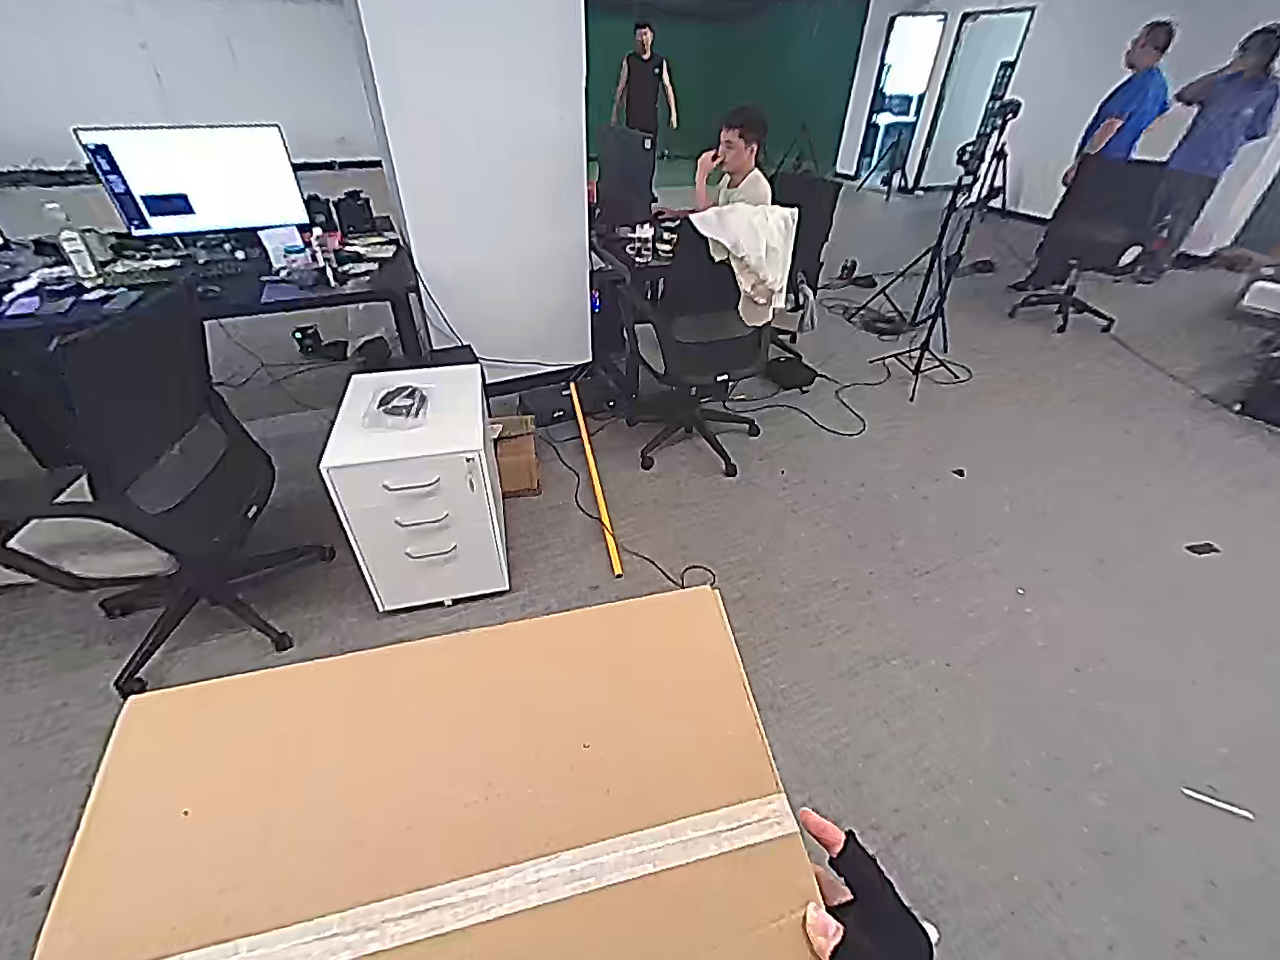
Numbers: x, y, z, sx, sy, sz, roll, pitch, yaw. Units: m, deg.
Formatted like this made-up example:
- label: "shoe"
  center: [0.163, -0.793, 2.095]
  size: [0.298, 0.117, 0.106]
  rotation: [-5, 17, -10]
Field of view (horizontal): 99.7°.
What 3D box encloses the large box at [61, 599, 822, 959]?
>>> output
- label: "large box"
  center: [-0.111, 0.332, 0.423]
  size: [0.408, 0.320, 0.320]
  rotation: [-9, 52, -9]
